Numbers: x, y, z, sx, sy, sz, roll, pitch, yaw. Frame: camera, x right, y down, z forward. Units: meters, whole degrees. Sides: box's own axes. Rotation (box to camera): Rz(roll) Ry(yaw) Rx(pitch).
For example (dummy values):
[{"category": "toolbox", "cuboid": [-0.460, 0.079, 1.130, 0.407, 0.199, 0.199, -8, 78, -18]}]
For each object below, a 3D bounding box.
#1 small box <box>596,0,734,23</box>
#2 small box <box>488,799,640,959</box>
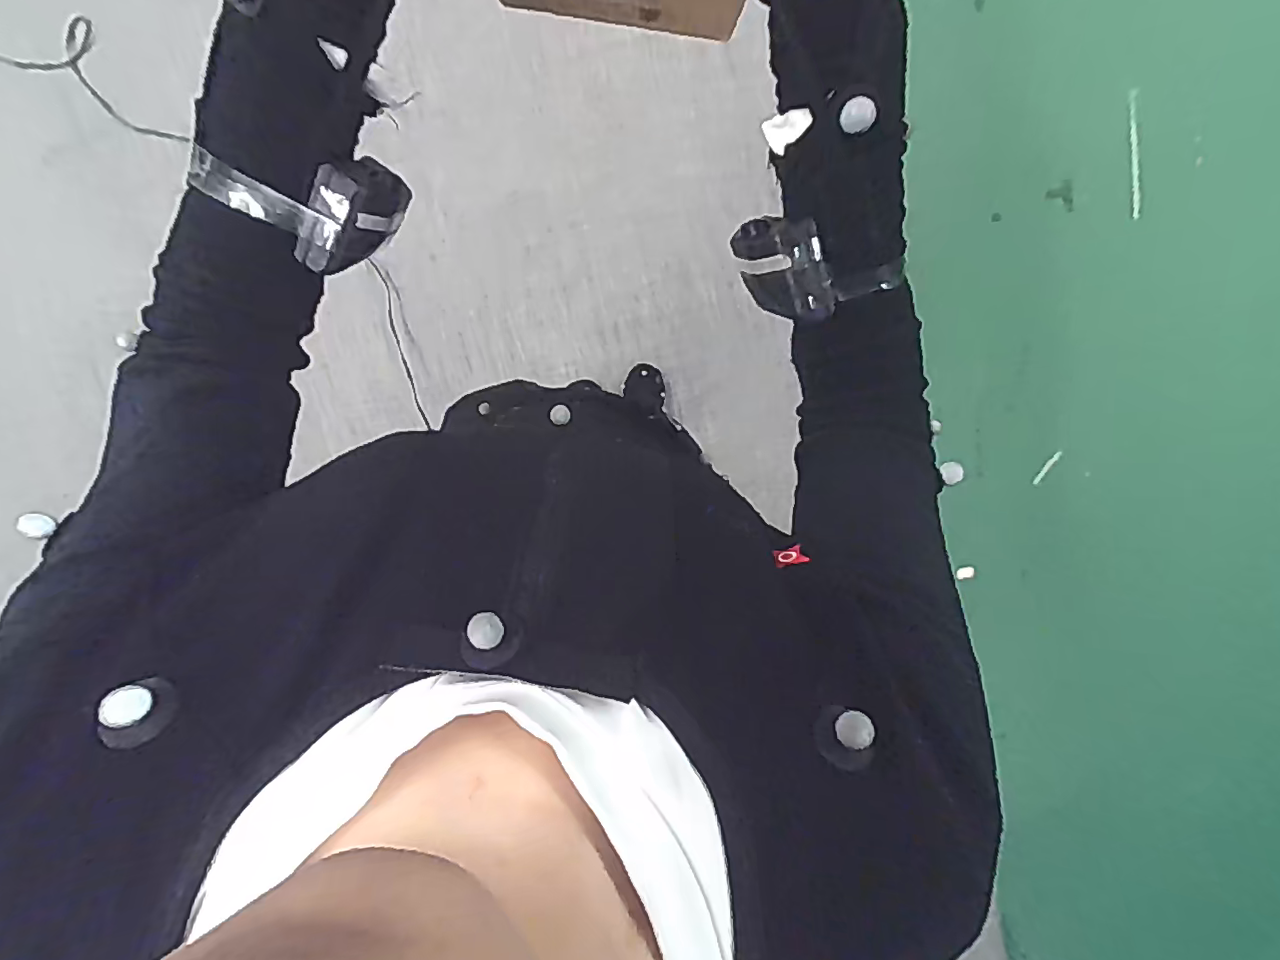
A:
[{"category": "small box", "cuboid": [-0.006, -0.387, 0.283, 0.168, 0.176, 0.179, 5, 106, -3]}, {"category": "small box", "cuboid": [-0.109, 0.651, 0.849, 0.179, 0.176, 0.168, -23, 99, -1]}]
